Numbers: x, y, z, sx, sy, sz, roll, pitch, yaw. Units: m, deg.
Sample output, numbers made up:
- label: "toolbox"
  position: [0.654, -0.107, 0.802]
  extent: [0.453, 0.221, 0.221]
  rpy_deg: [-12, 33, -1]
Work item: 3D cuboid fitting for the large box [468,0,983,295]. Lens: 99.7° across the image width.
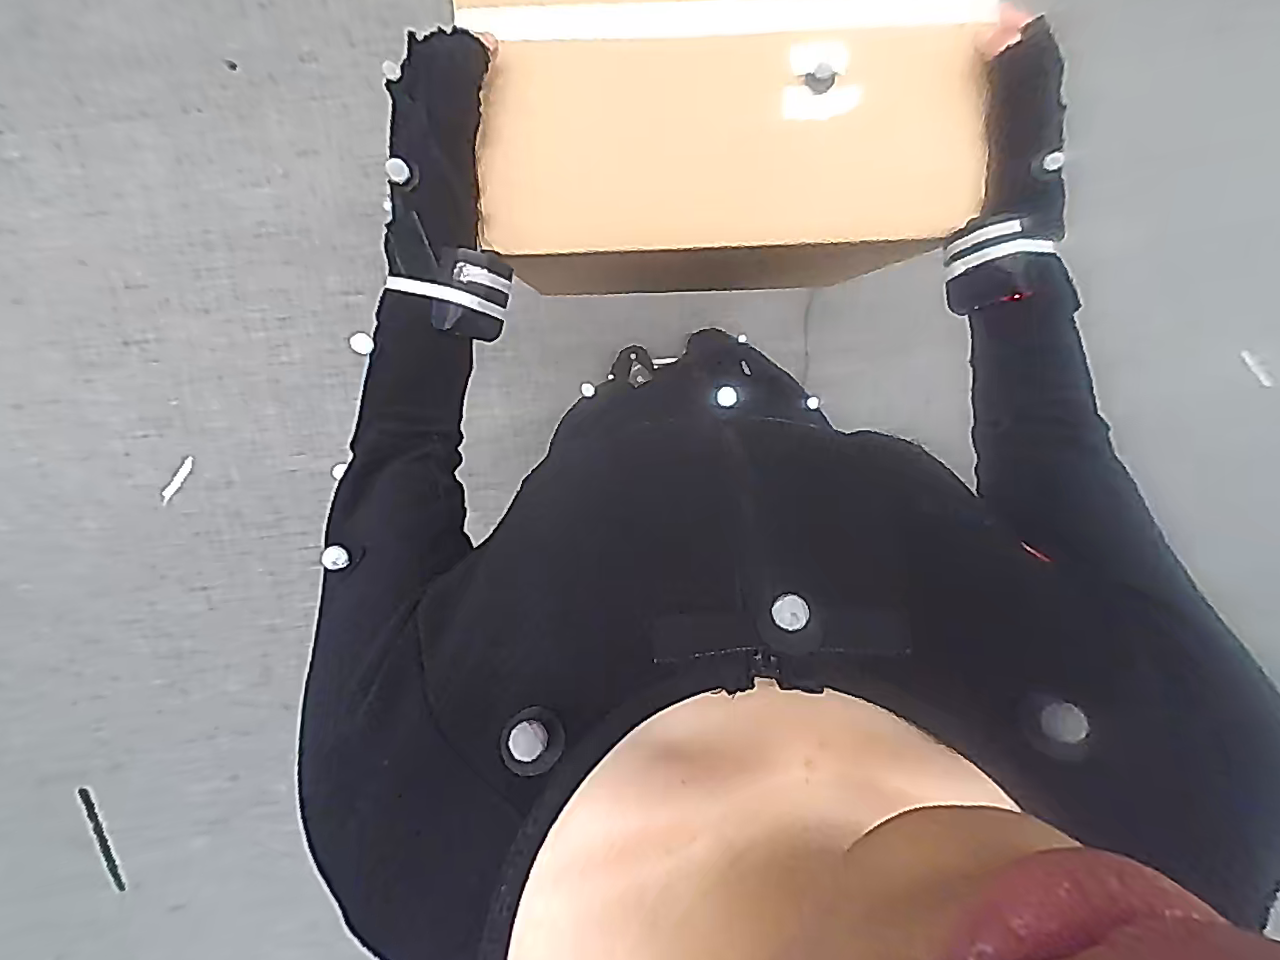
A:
- label: "large box"
  position: [0.062, -0.383, 0.561]
  extent: [0.408, 0.320, 0.320]
  rpy_deg: [-3, 103, -2]
